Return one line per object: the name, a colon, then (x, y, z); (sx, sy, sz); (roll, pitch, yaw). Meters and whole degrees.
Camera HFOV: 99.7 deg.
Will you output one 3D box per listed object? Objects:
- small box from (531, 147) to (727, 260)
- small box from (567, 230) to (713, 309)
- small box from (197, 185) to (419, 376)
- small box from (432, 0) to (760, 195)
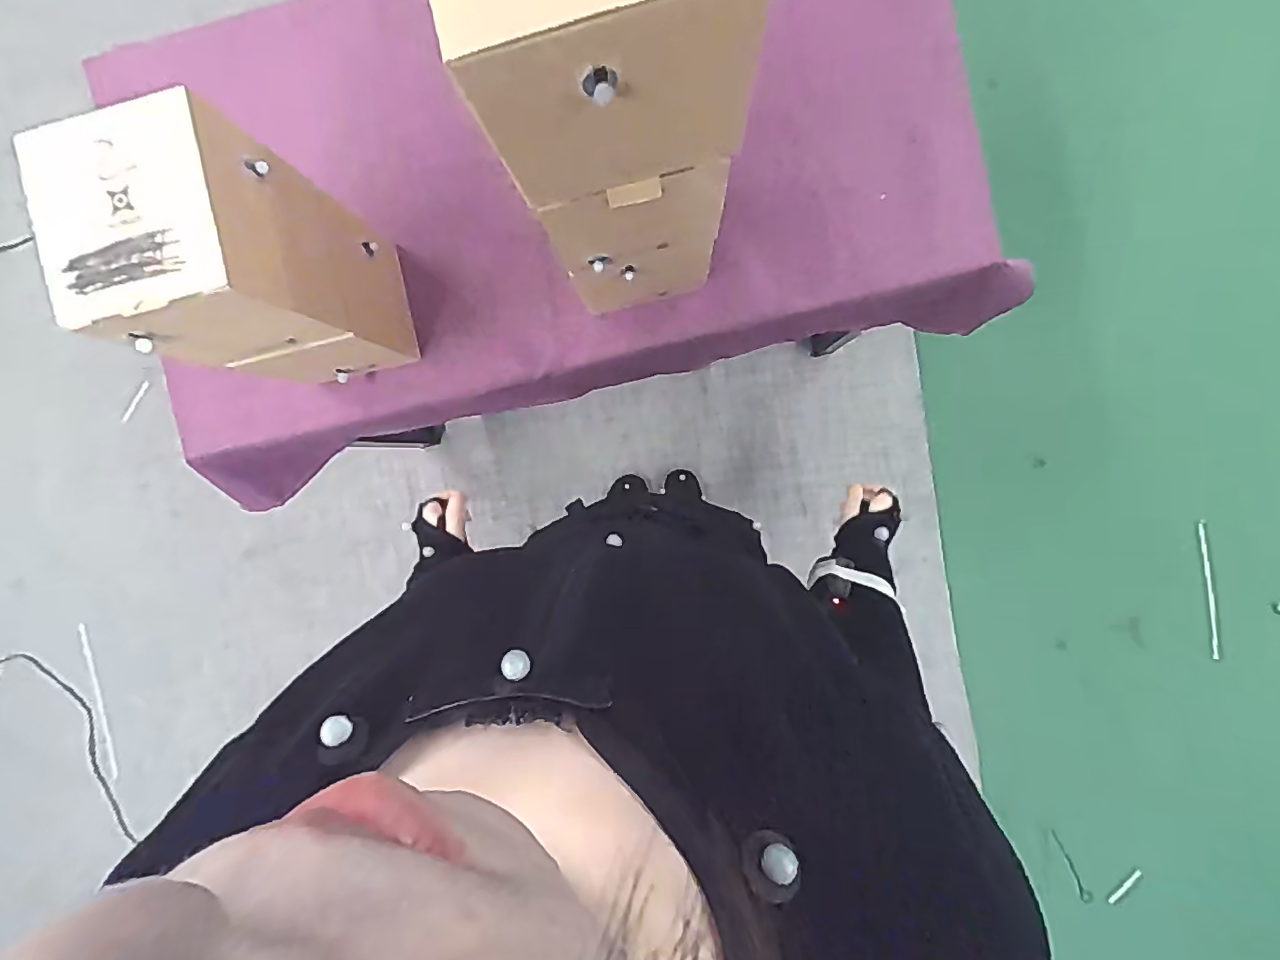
small box: (-0.019, -0.328, 0.512); (0.168, 0.176, 0.179); (-12, 92, 4)
small box: (-0.009, -0.336, 0.676); (0.168, 0.176, 0.179); (-12, 92, 6)
small box: (-0.418, -0.246, 0.710); (0.168, 0.176, 0.179); (-11, 93, 5)
small box: (-0.026, -0.314, 0.348); (0.179, 0.176, 0.168); (-12, 94, 4)
